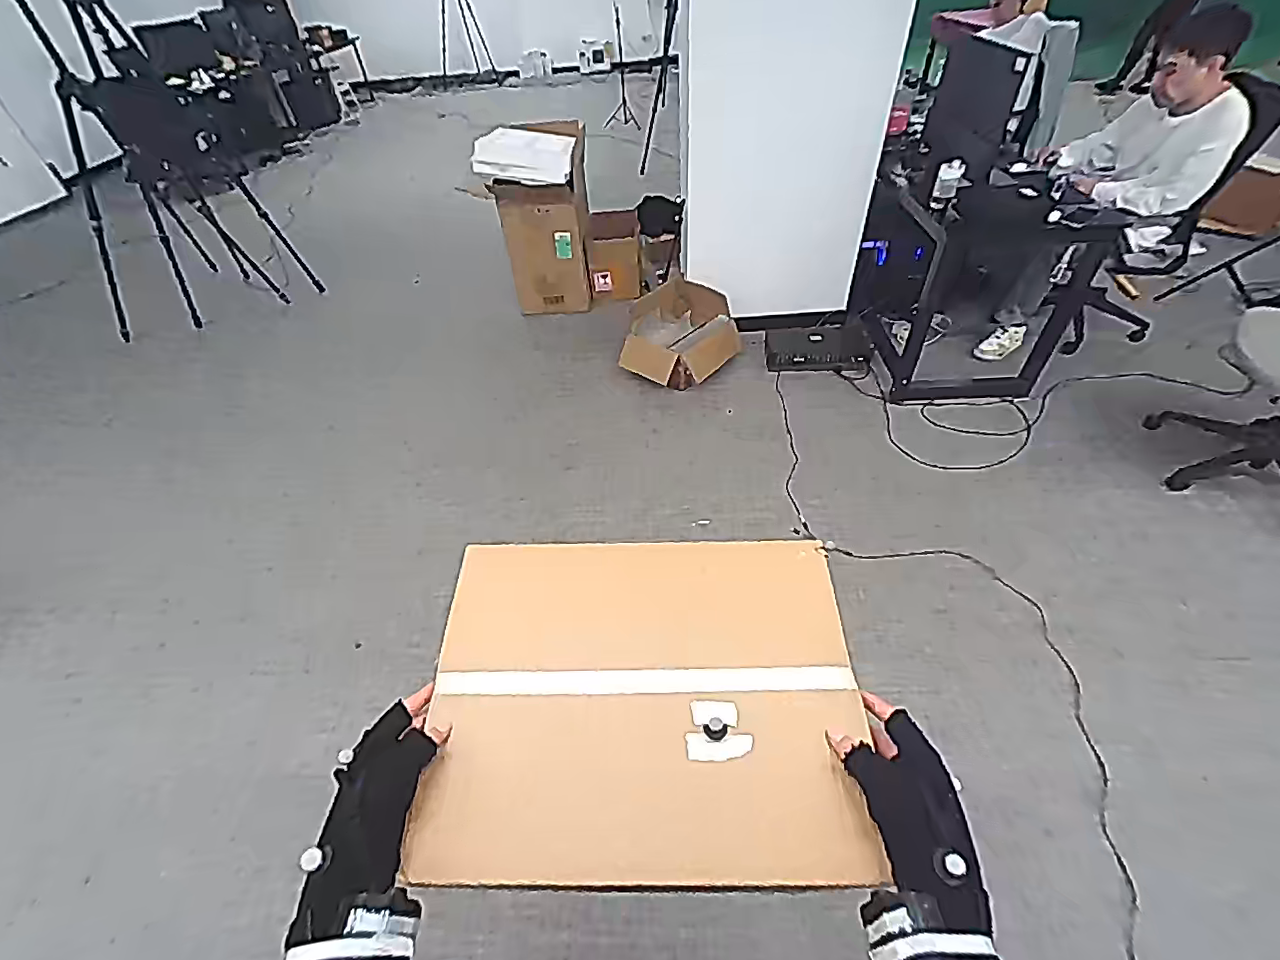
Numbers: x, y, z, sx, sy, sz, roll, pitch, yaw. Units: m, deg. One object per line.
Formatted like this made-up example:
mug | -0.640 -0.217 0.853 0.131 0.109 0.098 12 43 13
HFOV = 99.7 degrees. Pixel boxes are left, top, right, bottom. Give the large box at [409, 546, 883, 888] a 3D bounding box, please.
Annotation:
large box | 0.006 0.292 0.653 0.408 0.320 0.320 0 52 2
